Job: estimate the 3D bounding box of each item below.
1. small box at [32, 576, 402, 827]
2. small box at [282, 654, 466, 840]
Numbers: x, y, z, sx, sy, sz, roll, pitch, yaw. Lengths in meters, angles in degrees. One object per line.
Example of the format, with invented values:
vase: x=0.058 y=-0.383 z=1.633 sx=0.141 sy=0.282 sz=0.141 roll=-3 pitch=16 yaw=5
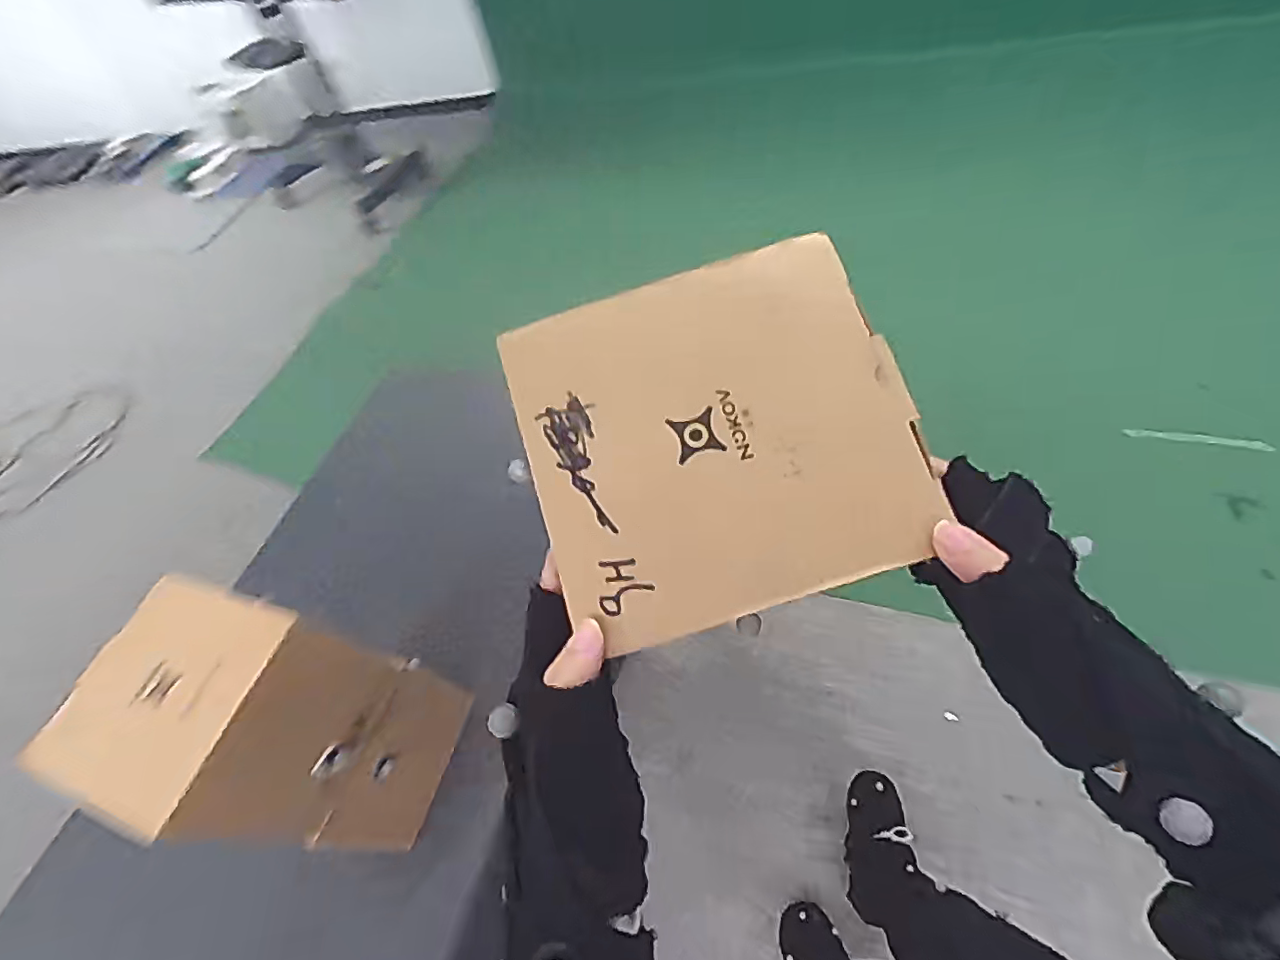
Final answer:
small box: x=-0.372 y=0.212 z=0.512 sx=0.179 sy=0.176 sz=0.168 roll=8 pitch=60 yaw=18
small box: x=-0.337 y=0.303 z=0.640 sx=0.168 sy=0.176 sz=0.179 roll=7 pitch=58 yaw=19
